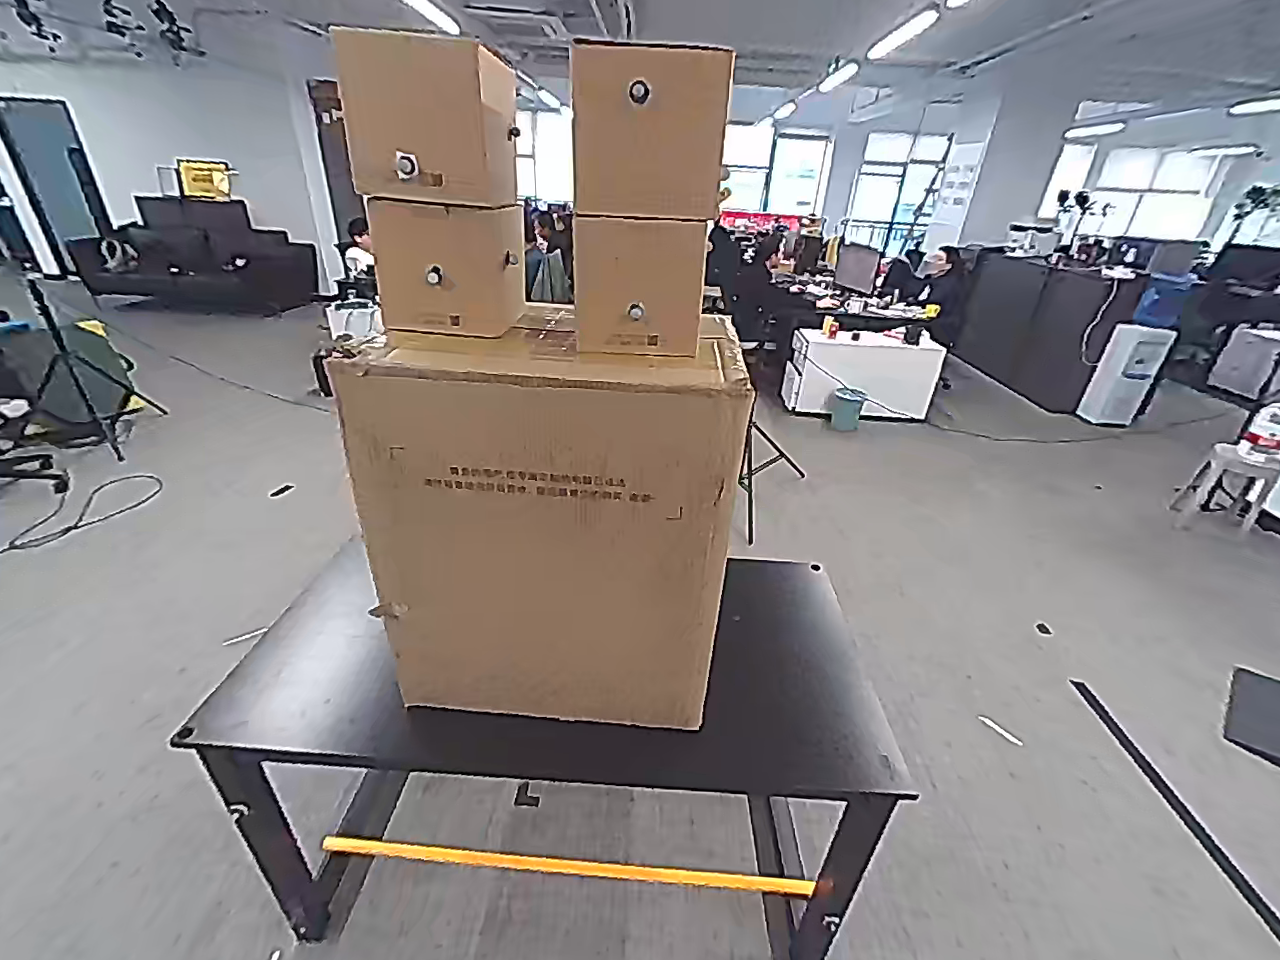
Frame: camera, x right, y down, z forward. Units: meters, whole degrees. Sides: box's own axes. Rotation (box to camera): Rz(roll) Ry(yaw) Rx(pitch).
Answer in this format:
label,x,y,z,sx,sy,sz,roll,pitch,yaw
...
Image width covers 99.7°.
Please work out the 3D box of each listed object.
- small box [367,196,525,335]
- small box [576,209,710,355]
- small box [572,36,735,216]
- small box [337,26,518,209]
label,x,y,z,sx,sy,sz,roll,pitch,yaw
small box,-0.266,-0.318,0.791,0.168,0.176,0.179,5,29,-1
small box,0.004,-0.284,0.759,0.168,0.176,0.179,3,29,2
small box,0.016,-0.425,0.675,0.179,0.176,0.168,3,29,1
small box,-0.257,-0.455,0.701,0.168,0.176,0.179,3,29,-1
